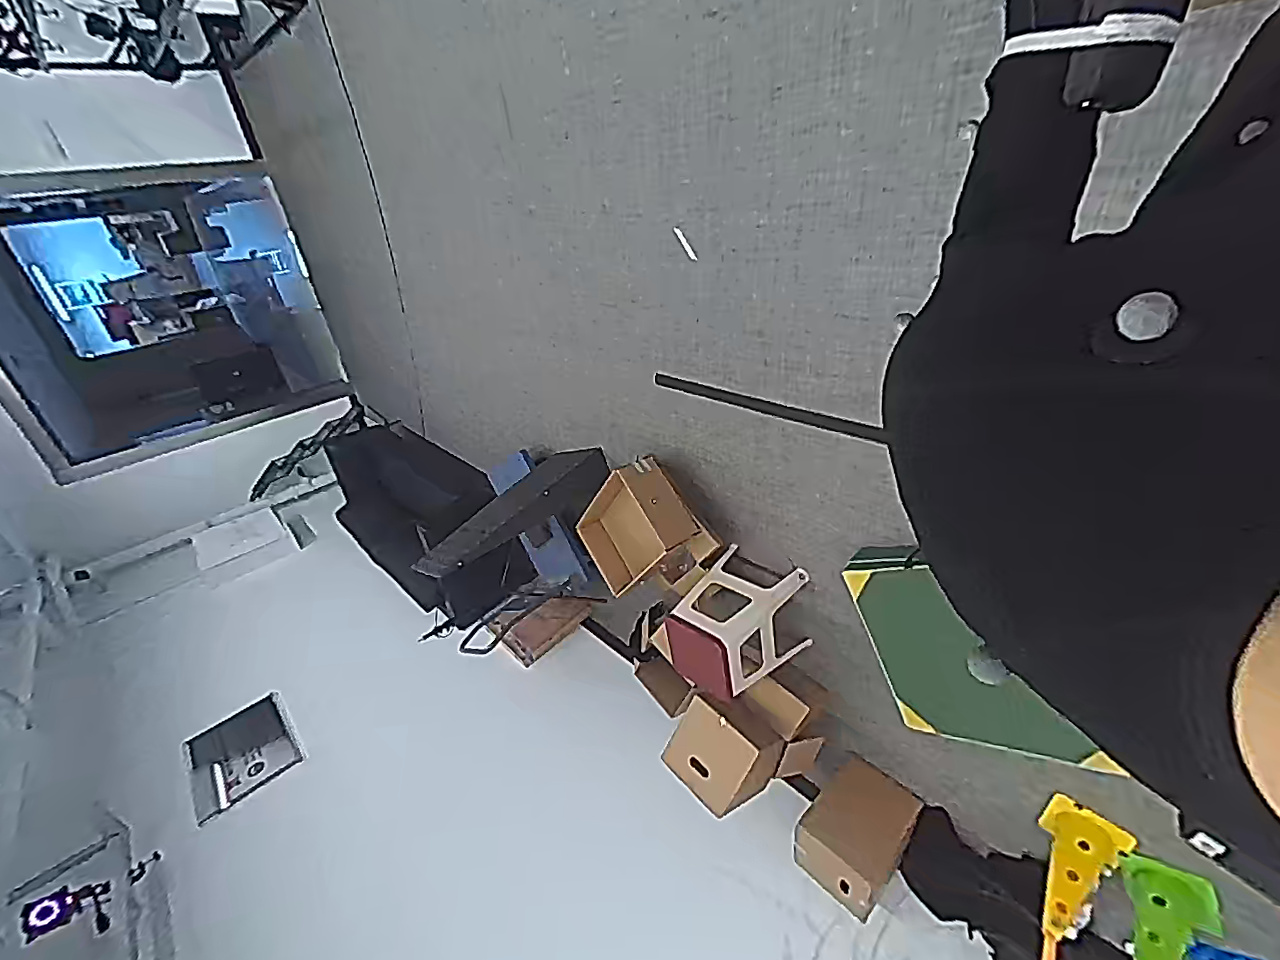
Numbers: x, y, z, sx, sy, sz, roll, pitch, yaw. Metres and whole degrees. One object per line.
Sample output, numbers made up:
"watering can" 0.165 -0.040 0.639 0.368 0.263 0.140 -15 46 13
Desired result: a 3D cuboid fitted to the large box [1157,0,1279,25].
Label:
"large box" 0.522 -0.450 0.221 0.408 0.320 0.320 20 128 39
